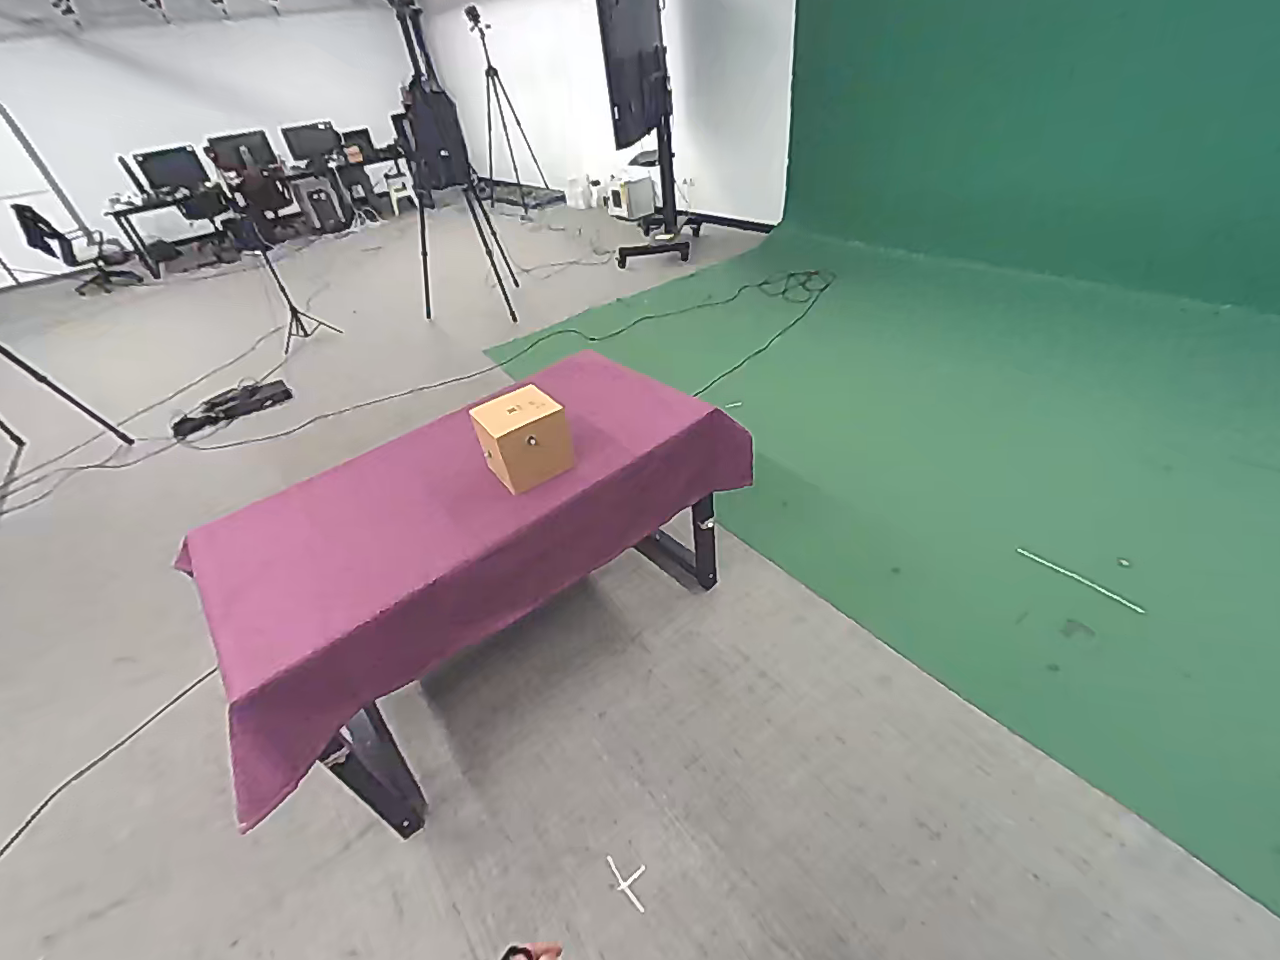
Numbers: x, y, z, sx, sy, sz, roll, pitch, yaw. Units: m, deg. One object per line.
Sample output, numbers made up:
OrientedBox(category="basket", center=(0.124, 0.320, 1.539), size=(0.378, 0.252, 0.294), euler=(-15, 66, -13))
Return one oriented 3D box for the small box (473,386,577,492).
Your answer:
OrientedBox(category="small box", center=(-0.274, -0.099, 1.314), size=(0.179, 0.176, 0.168), euler=(-29, 43, -22))
